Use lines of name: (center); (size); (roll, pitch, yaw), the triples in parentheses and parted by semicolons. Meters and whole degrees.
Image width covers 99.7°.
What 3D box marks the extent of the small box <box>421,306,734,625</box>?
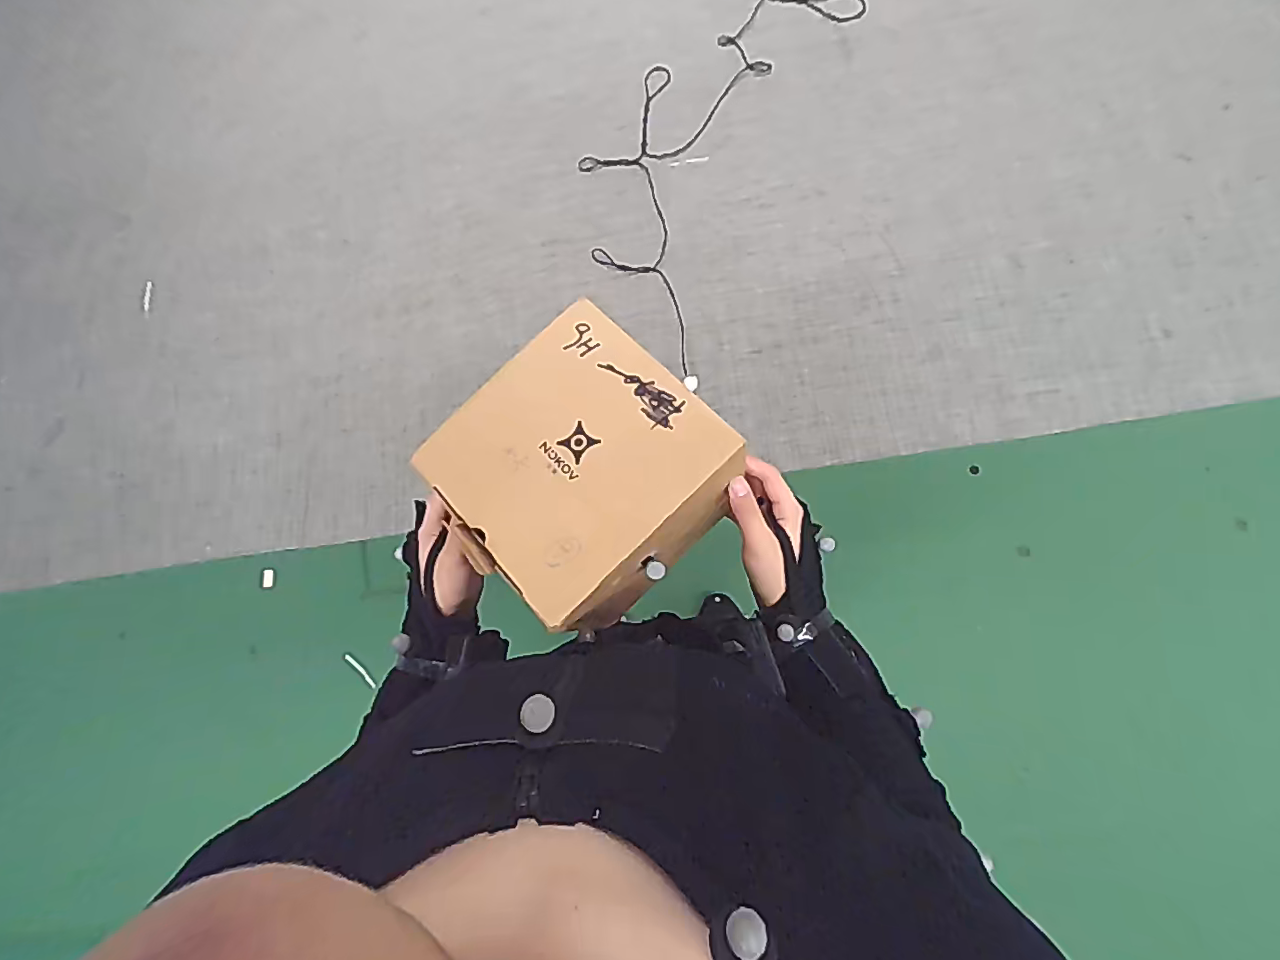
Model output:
small box: (-0.034, 0.002, 0.453); (0.179, 0.176, 0.168); (-45, 73, -2)
